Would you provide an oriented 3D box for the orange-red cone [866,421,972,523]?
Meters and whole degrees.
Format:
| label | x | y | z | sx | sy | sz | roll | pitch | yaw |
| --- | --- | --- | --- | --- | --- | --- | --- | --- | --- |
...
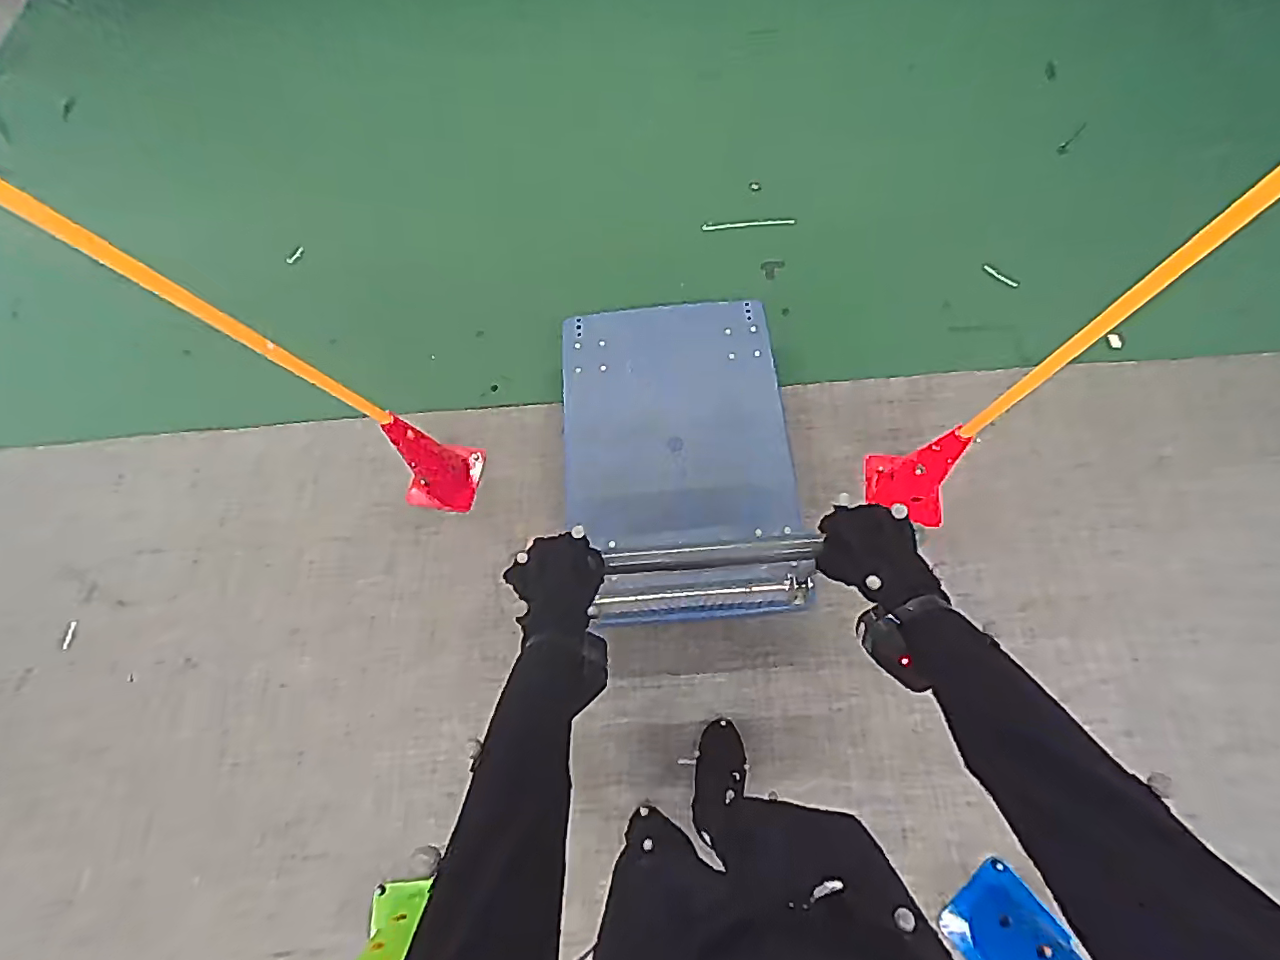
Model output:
| label | x | y | z | sx | sy | sz | roll | pitch | yaw |
| --- | --- | --- | --- | --- | --- | --- | --- | --- | --- |
| orange-red cone | 0.706 | -0.045 | 1.315 | 0.198 | 0.360 | 0.199 | 7 | 70 | 7 |
